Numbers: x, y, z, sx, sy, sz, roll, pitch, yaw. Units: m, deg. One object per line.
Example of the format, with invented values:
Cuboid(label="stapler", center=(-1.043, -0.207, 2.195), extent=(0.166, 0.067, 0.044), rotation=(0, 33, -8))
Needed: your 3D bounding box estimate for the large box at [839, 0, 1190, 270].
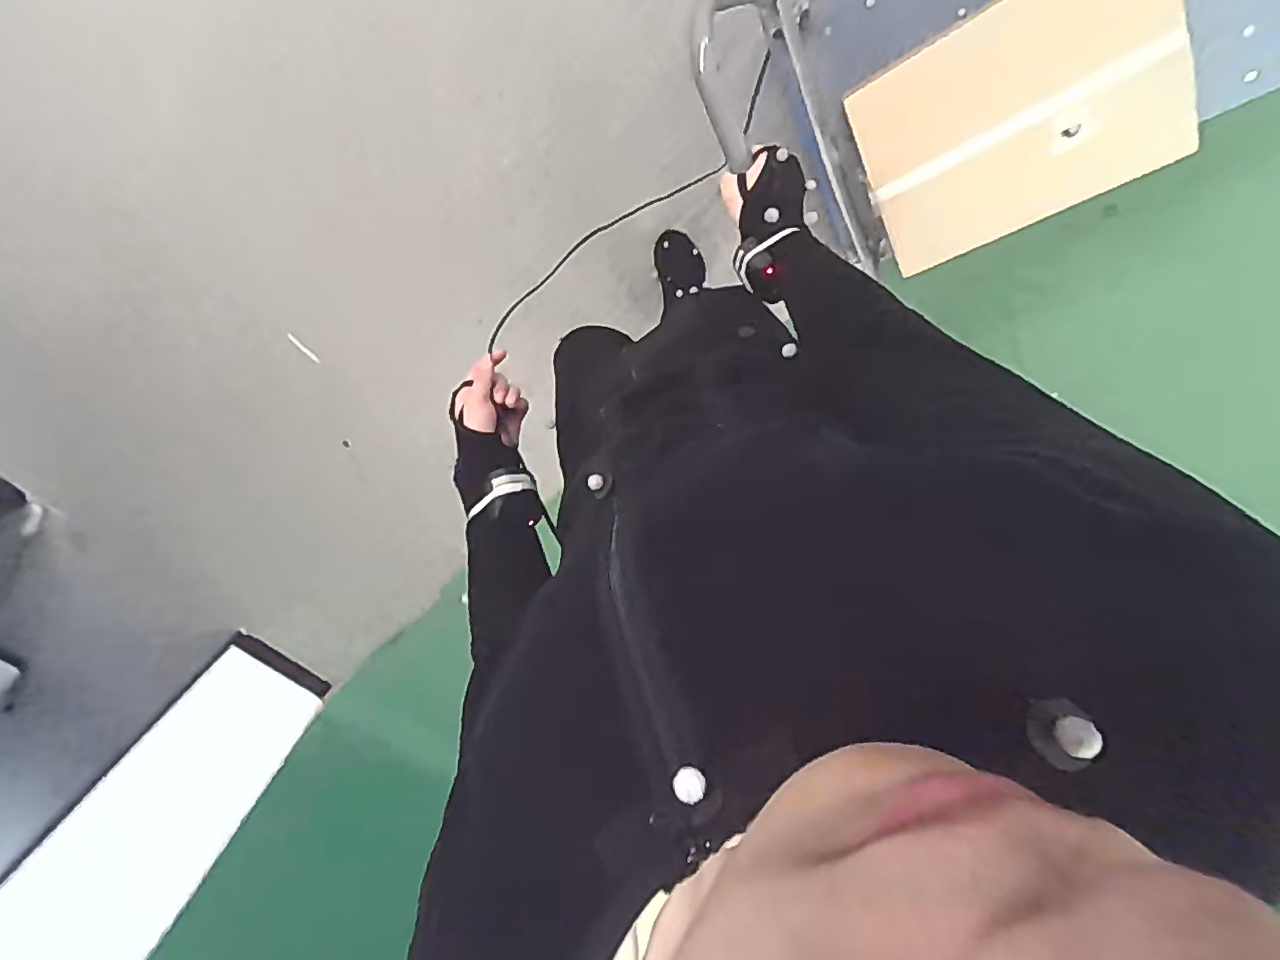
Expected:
Cuboid(label="large box", center=(0.596, -0.631, 0.934), extent=(0.408, 0.320, 0.320), rotation=(-18, 118, 29))
